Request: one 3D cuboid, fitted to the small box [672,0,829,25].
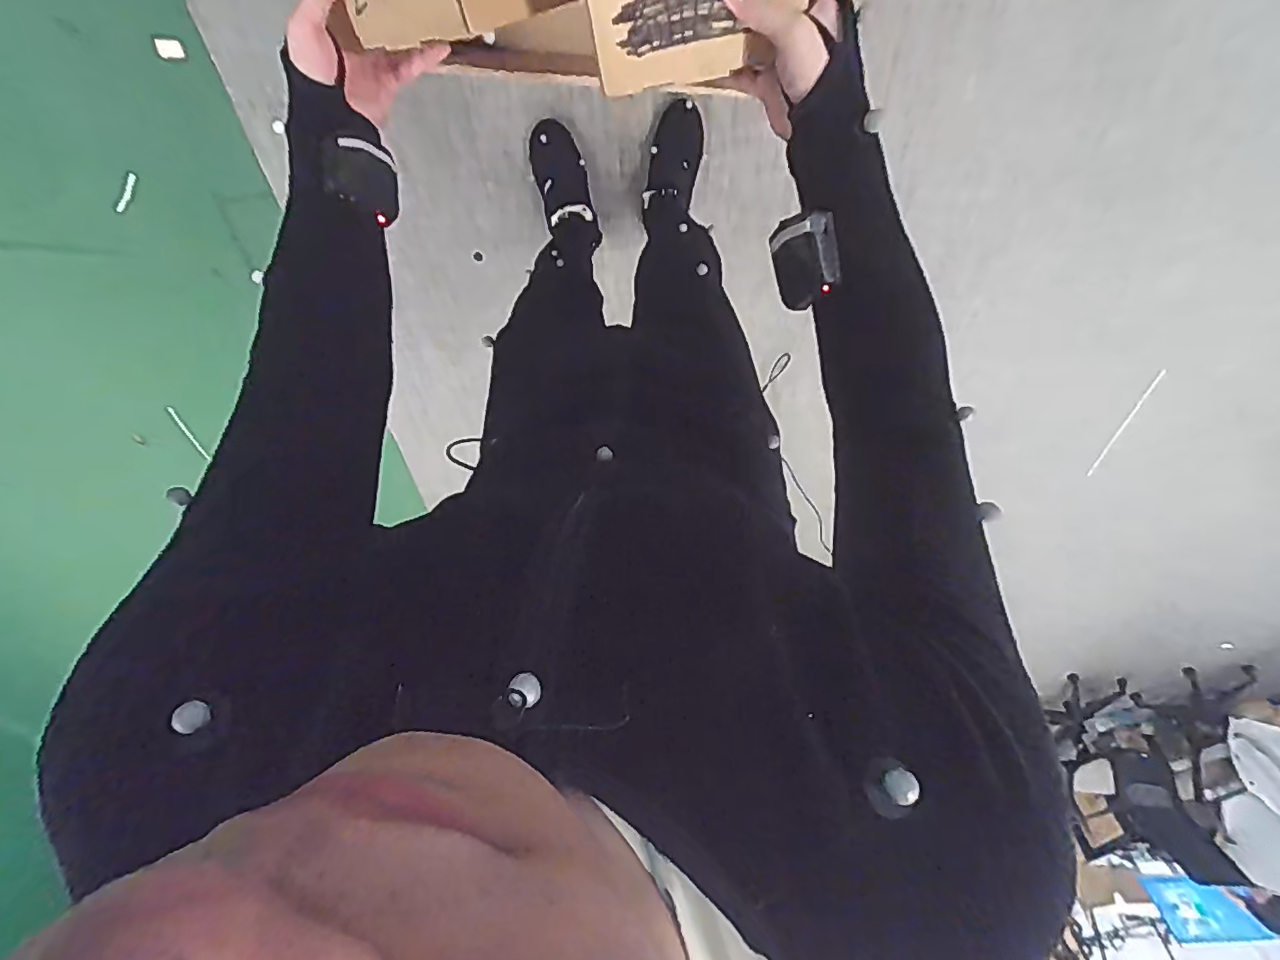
[{"bbox_3d":[0.121,-0.611,0.574,0.168,0.176,0.179,1,133,-5],"label":"small box"}]

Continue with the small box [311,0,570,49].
[{"bbox_3d":[-0.173,-0.474,0.429,0.168,0.176,0.179,18,143,26],"label":"small box"}]
